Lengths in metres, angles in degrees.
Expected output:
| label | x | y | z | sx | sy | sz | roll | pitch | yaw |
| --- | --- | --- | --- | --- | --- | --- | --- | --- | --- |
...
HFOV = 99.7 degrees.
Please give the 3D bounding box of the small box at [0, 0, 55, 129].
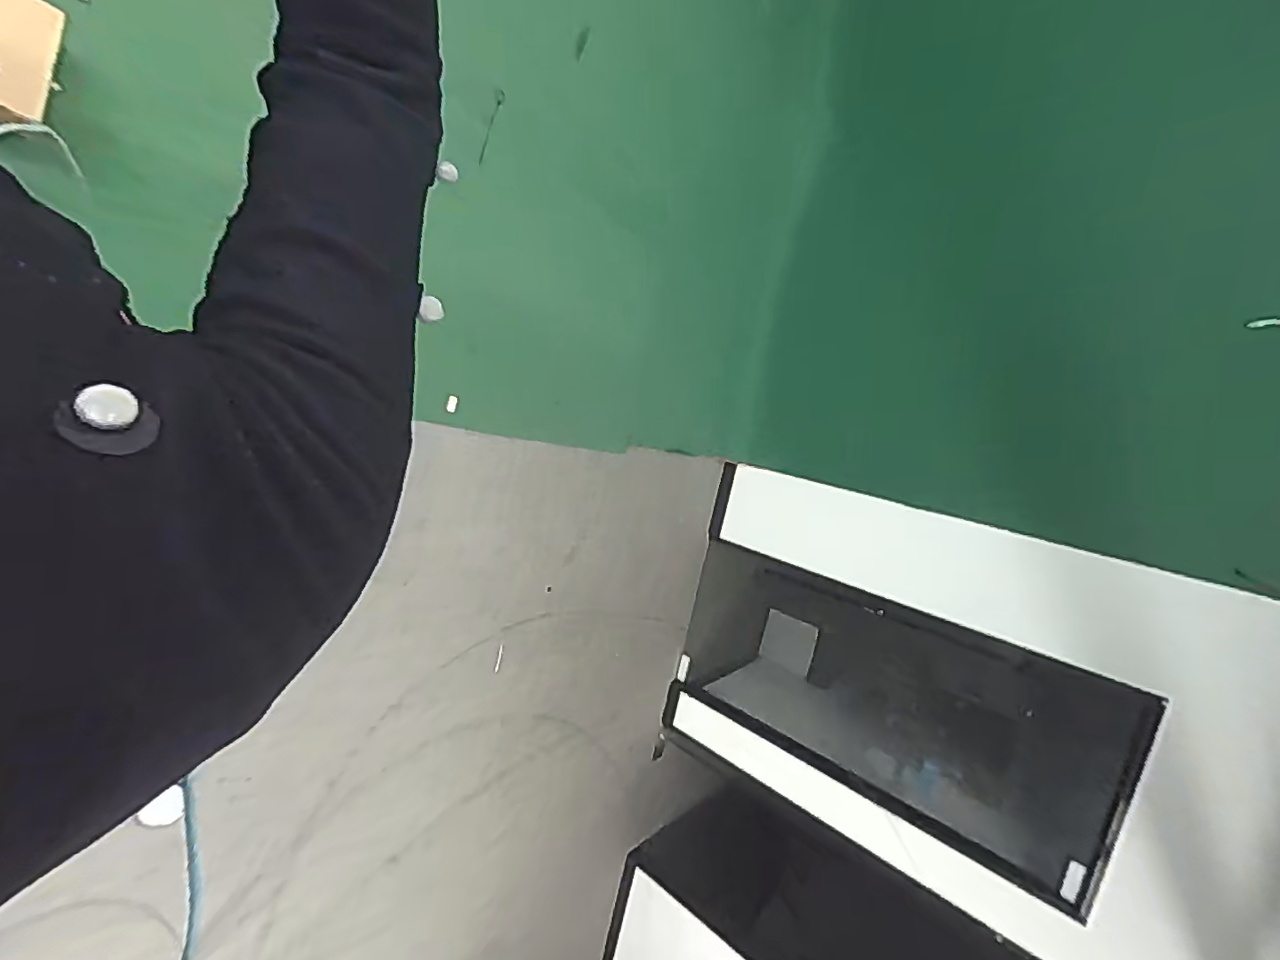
| label | x | y | z | sx | sy | sz | roll | pitch | yaw |
| --- | --- | --- | --- | --- | --- | --- | --- | --- | --- |
| small box | -1.018 | -0.662 | 0.811 | 0.168 | 0.176 | 0.179 | 7 | 101 | -54 |
